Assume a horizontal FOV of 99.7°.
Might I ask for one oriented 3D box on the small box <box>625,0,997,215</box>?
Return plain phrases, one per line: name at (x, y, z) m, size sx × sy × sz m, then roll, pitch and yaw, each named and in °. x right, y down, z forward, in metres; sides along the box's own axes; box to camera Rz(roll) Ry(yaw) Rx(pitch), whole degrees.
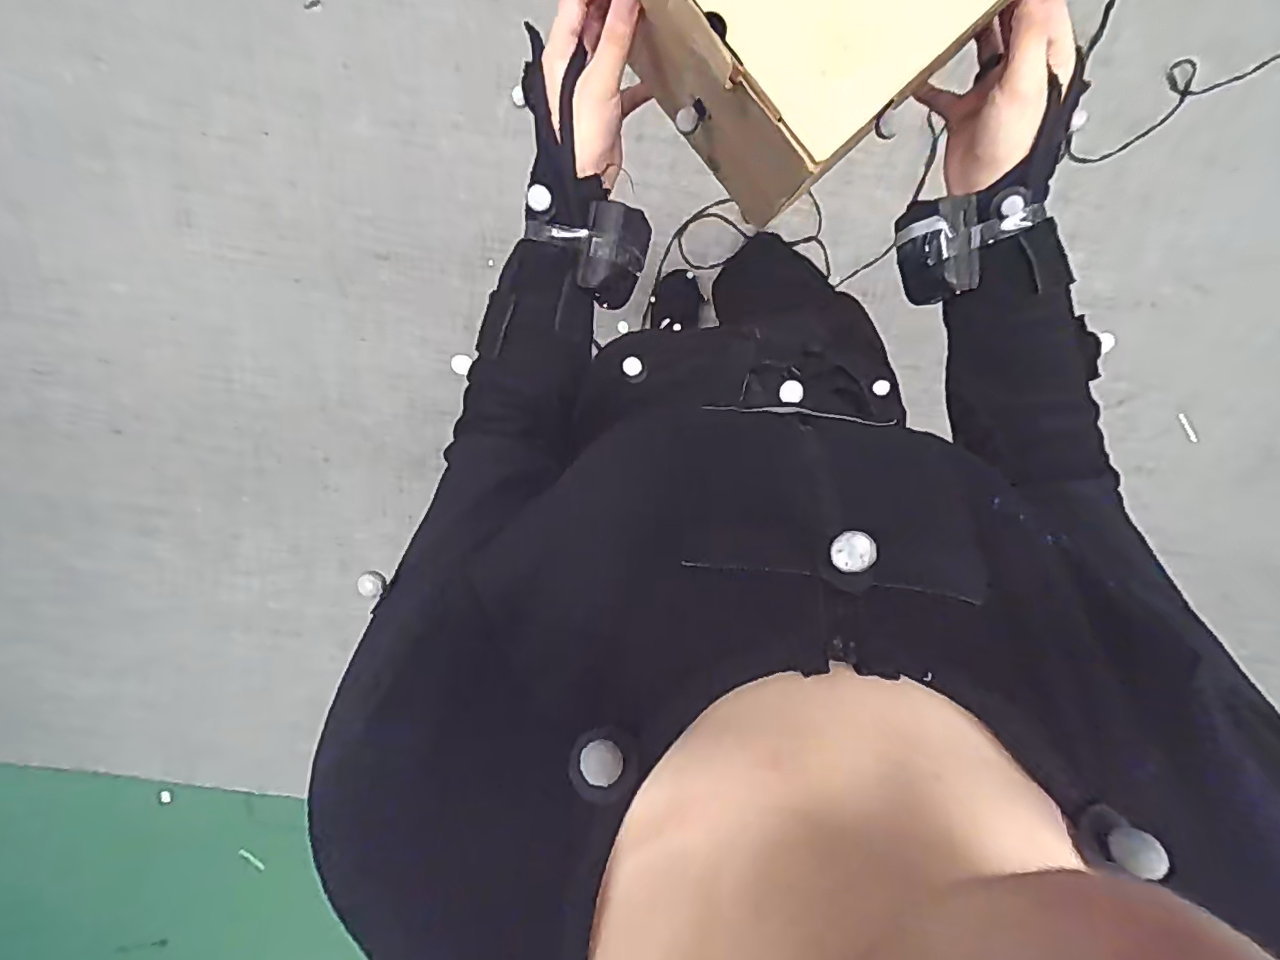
small box at (0.102, -0.297, 0.328) m, size 0.179 × 0.176 × 0.168 m, roll -40°, pitch 99°, yaw 12°
